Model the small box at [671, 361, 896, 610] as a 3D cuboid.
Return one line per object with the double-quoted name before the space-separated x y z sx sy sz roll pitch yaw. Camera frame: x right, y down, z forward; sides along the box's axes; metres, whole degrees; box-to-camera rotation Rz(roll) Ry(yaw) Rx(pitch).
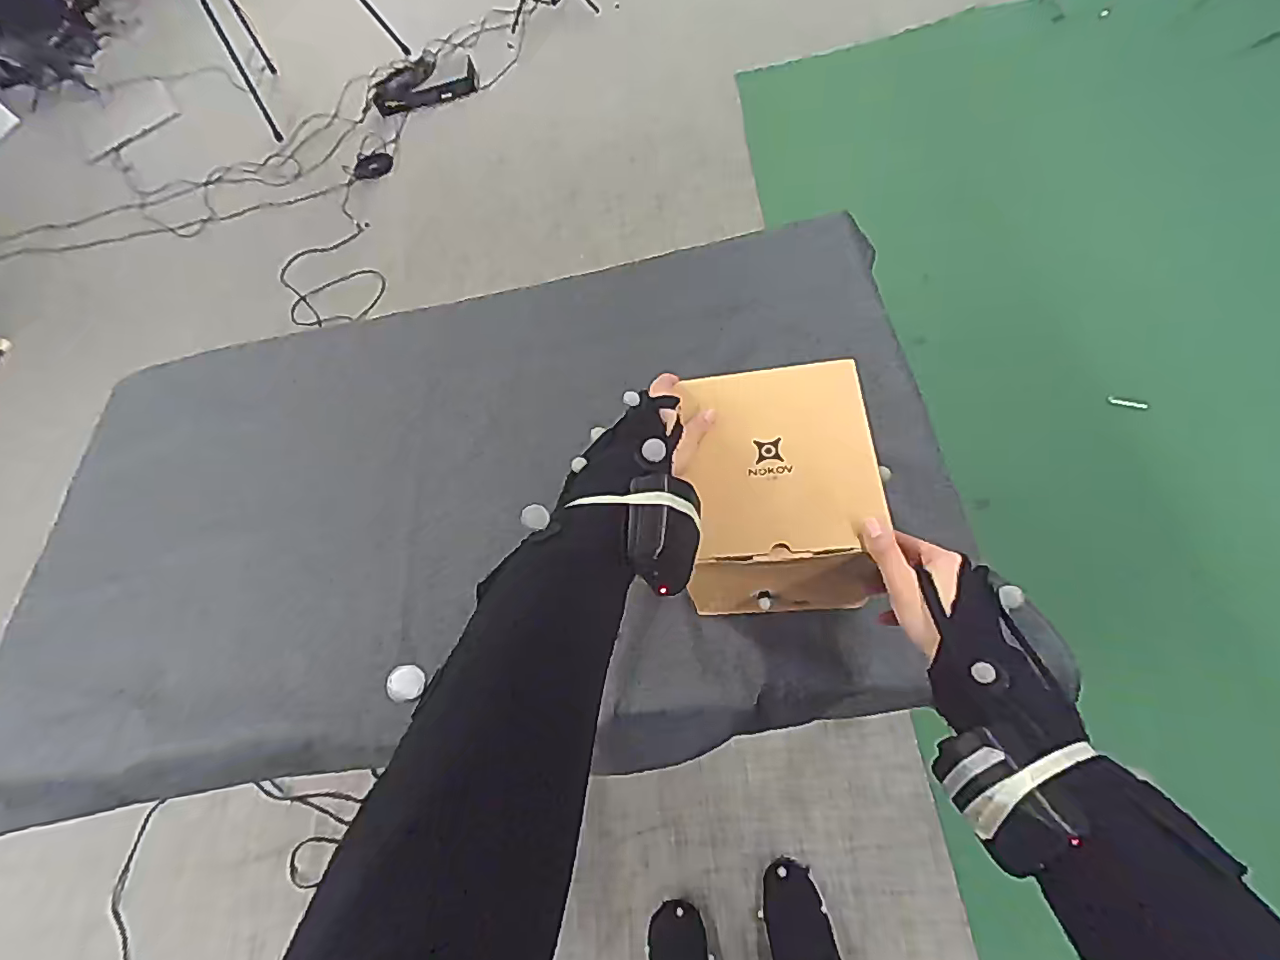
"small box" 0.122 0.015 0.514 0.168 0.176 0.179 -6 63 10
